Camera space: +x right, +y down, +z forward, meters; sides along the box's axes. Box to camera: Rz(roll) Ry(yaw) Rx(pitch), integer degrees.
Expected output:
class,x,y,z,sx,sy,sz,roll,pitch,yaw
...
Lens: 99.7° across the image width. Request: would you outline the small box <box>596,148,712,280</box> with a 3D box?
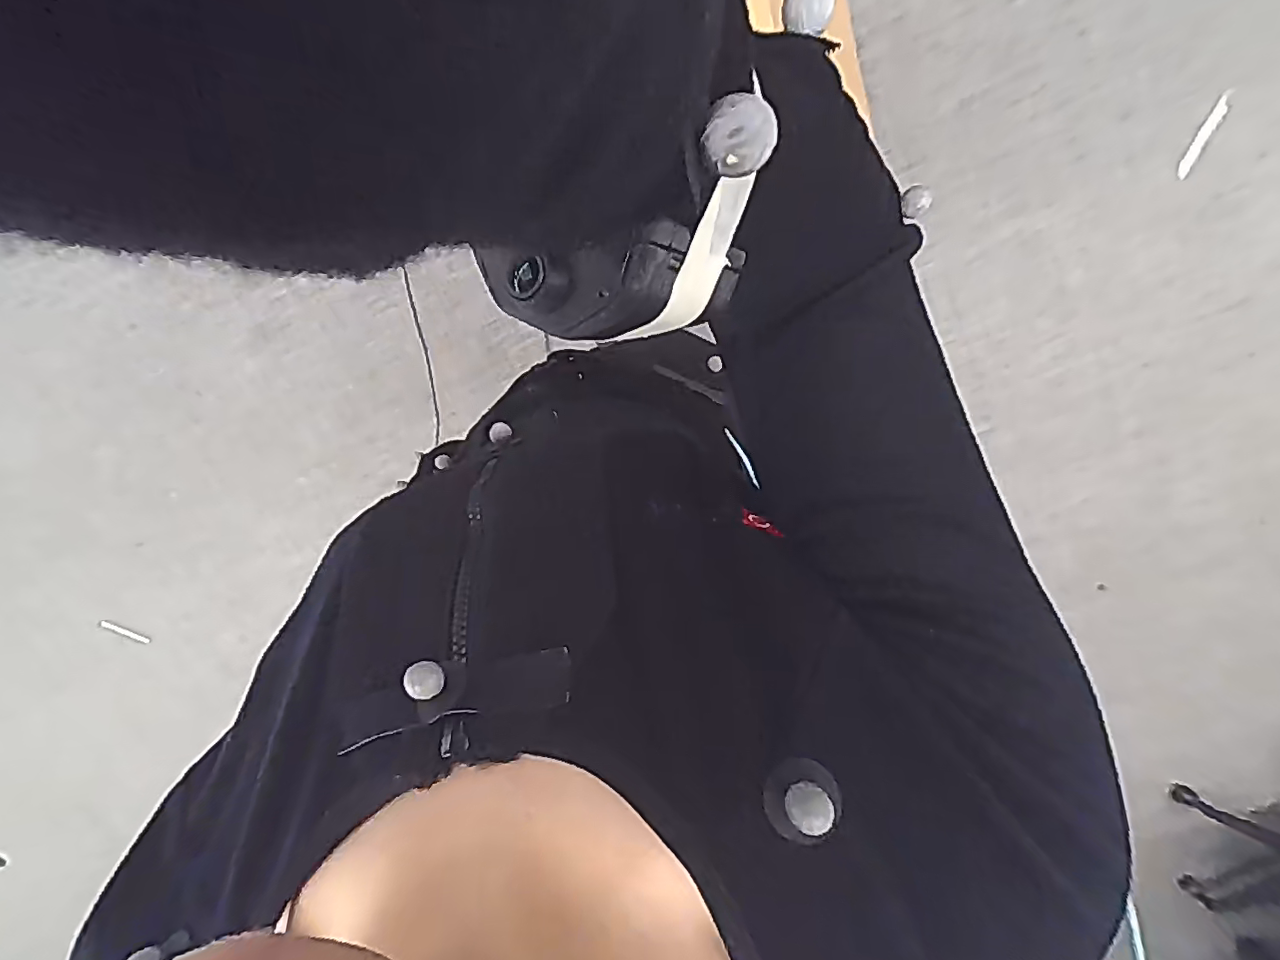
class,x,y,z,sx,sy,sz,roll,pitch,yaw
small box,0.028,-0.539,1.123,0.179,0.176,0.168,-32,102,10
